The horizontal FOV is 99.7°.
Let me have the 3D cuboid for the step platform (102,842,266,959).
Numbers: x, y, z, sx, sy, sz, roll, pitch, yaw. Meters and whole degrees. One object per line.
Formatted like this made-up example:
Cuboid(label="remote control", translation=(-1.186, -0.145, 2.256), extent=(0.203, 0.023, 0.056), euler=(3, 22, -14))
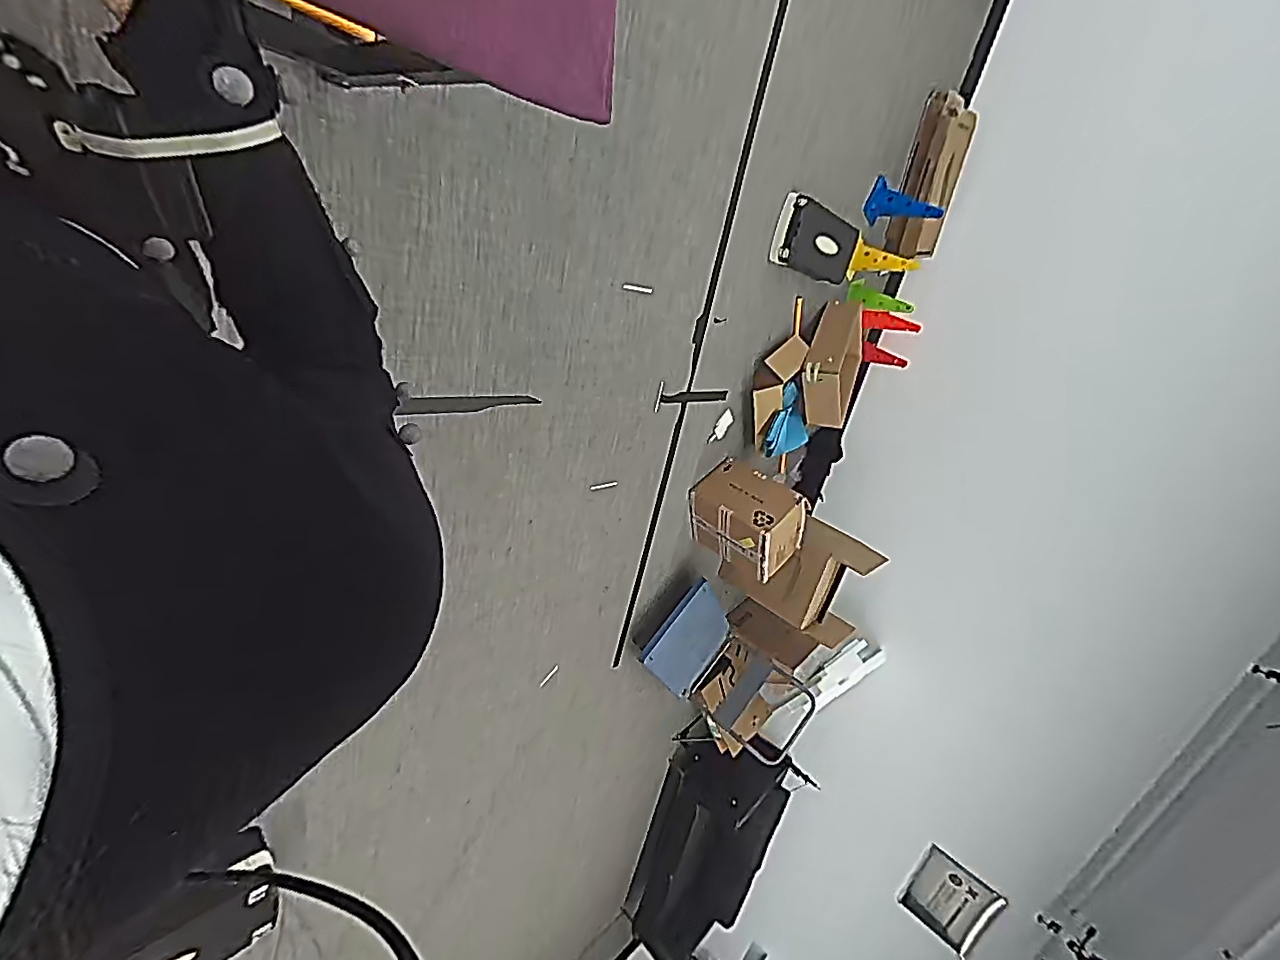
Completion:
Cuboid(label="step platform", translation=(-1.421, 1.328, 1.452), extent=(0.684, 0.204, 0.286), euler=(-13, 125, -48))
